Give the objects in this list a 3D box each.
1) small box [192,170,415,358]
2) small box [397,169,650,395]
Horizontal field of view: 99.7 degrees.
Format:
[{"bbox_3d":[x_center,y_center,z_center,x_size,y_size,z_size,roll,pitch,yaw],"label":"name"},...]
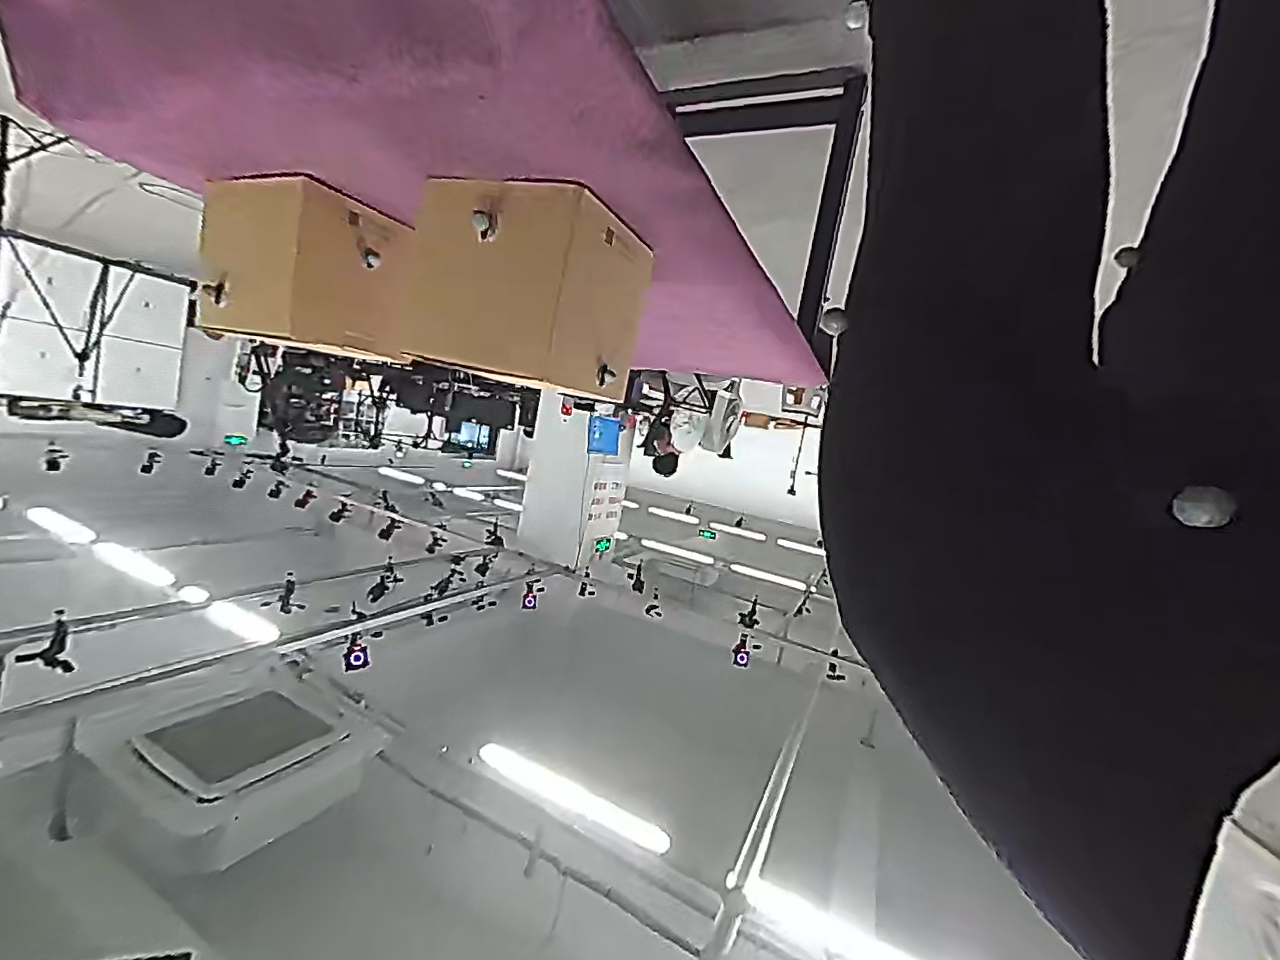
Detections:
[{"bbox_3d":[-0.399,-0.255,0.660,0.179,0.176,0.168,11,-173,22],"label":"small box"},{"bbox_3d":[-0.110,-0.194,0.552,0.179,0.176,0.168,15,-172,22],"label":"small box"}]
